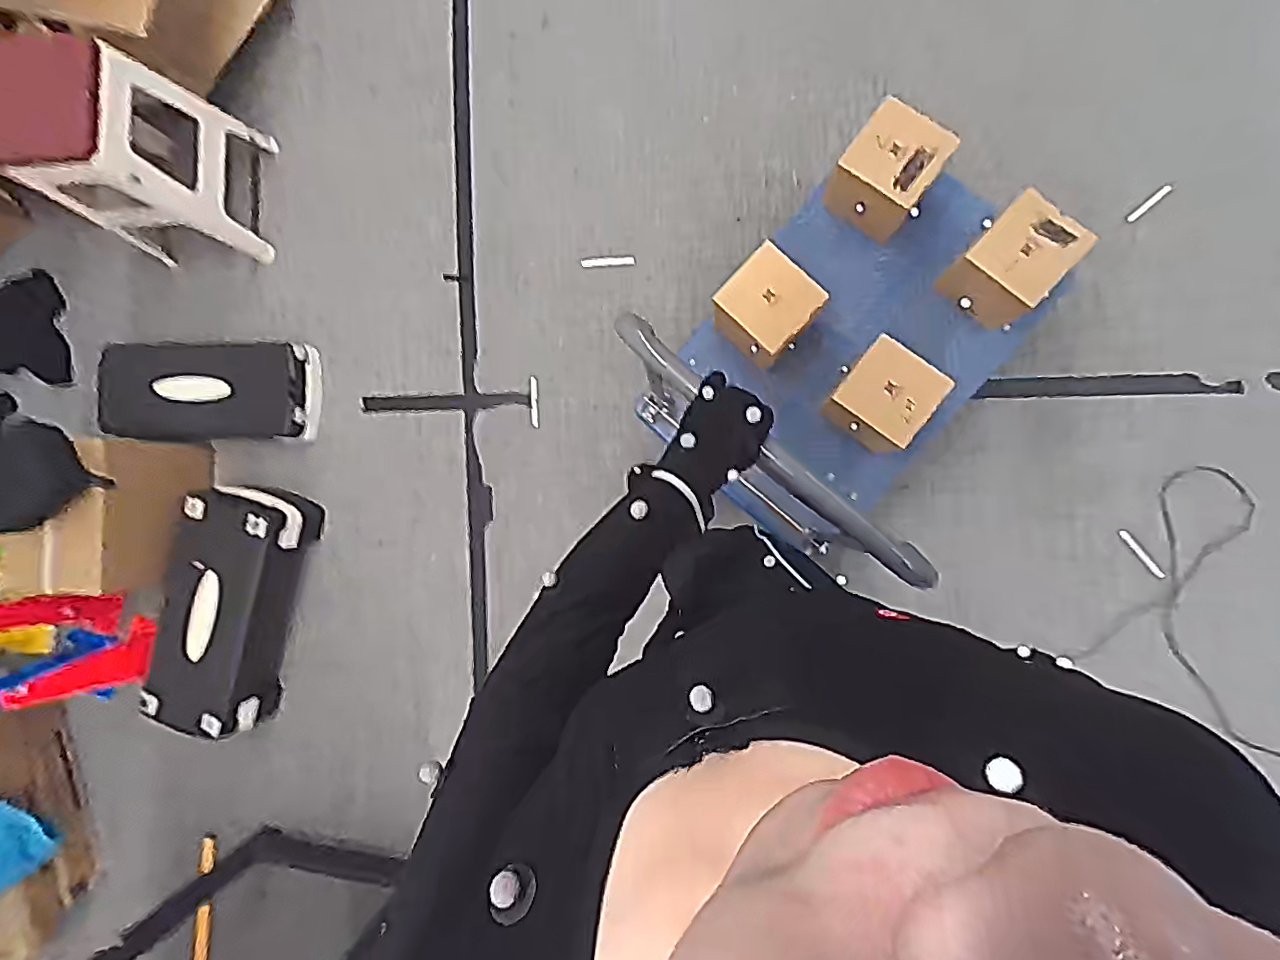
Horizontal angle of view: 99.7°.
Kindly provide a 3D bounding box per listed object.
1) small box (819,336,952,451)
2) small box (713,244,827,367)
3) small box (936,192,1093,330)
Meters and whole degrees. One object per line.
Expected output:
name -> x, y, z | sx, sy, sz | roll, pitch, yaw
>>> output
small box -> 0.511, -0.174, 1.159 | 0.179, 0.176, 0.168 | 39, 95, 7
small box -> 0.276, -0.373, 1.193 | 0.179, 0.176, 0.168 | 44, 95, 4
small box -> 0.763, -0.445, 1.128 | 0.168, 0.176, 0.179 | 43, 96, 6
